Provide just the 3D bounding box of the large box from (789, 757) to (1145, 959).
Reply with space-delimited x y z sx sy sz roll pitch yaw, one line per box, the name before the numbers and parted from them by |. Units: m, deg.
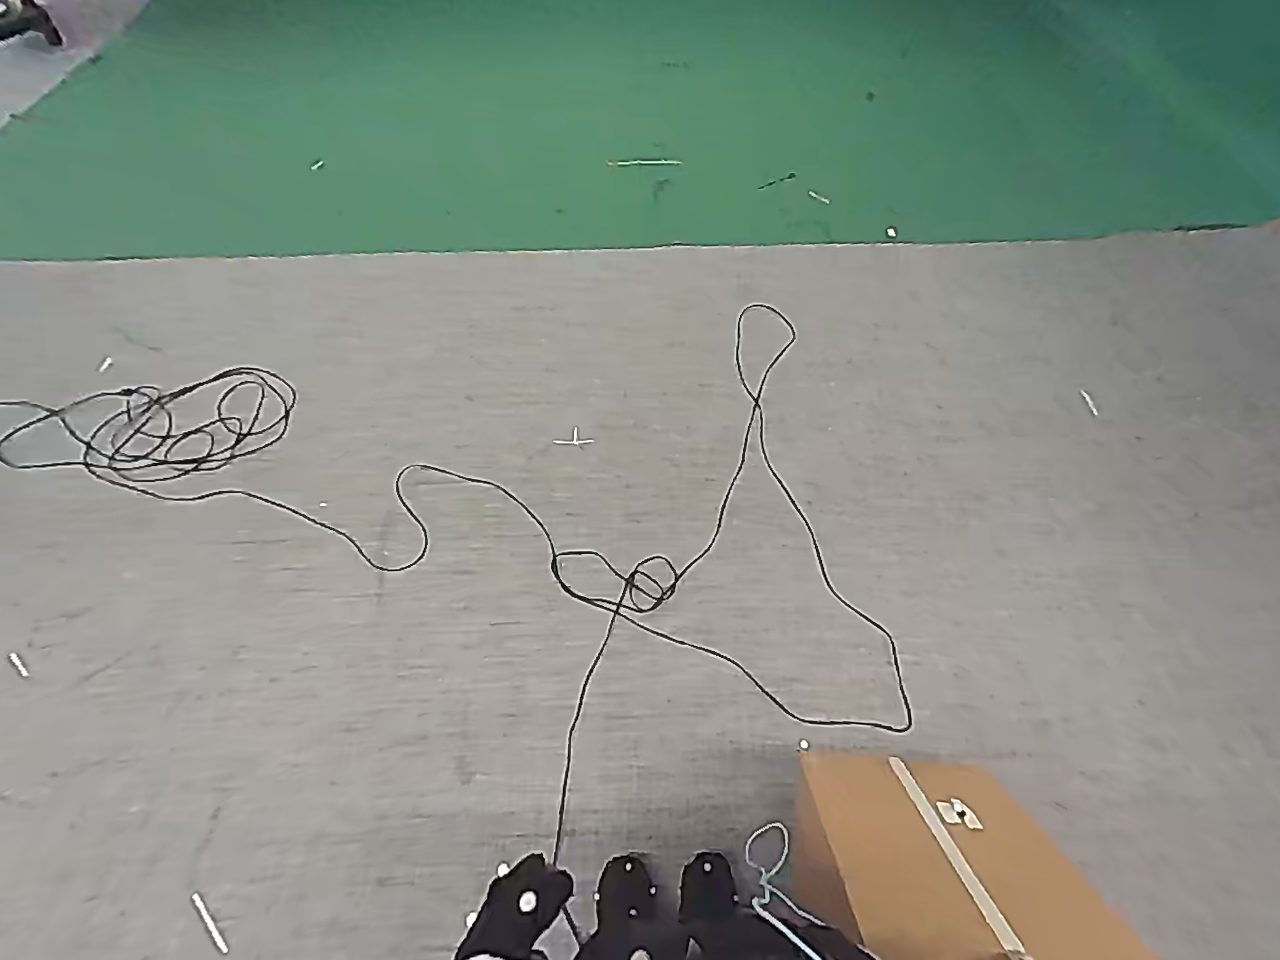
large box | 0.406 0.657 0.745 0.320 0.408 0.320 4 95 5
